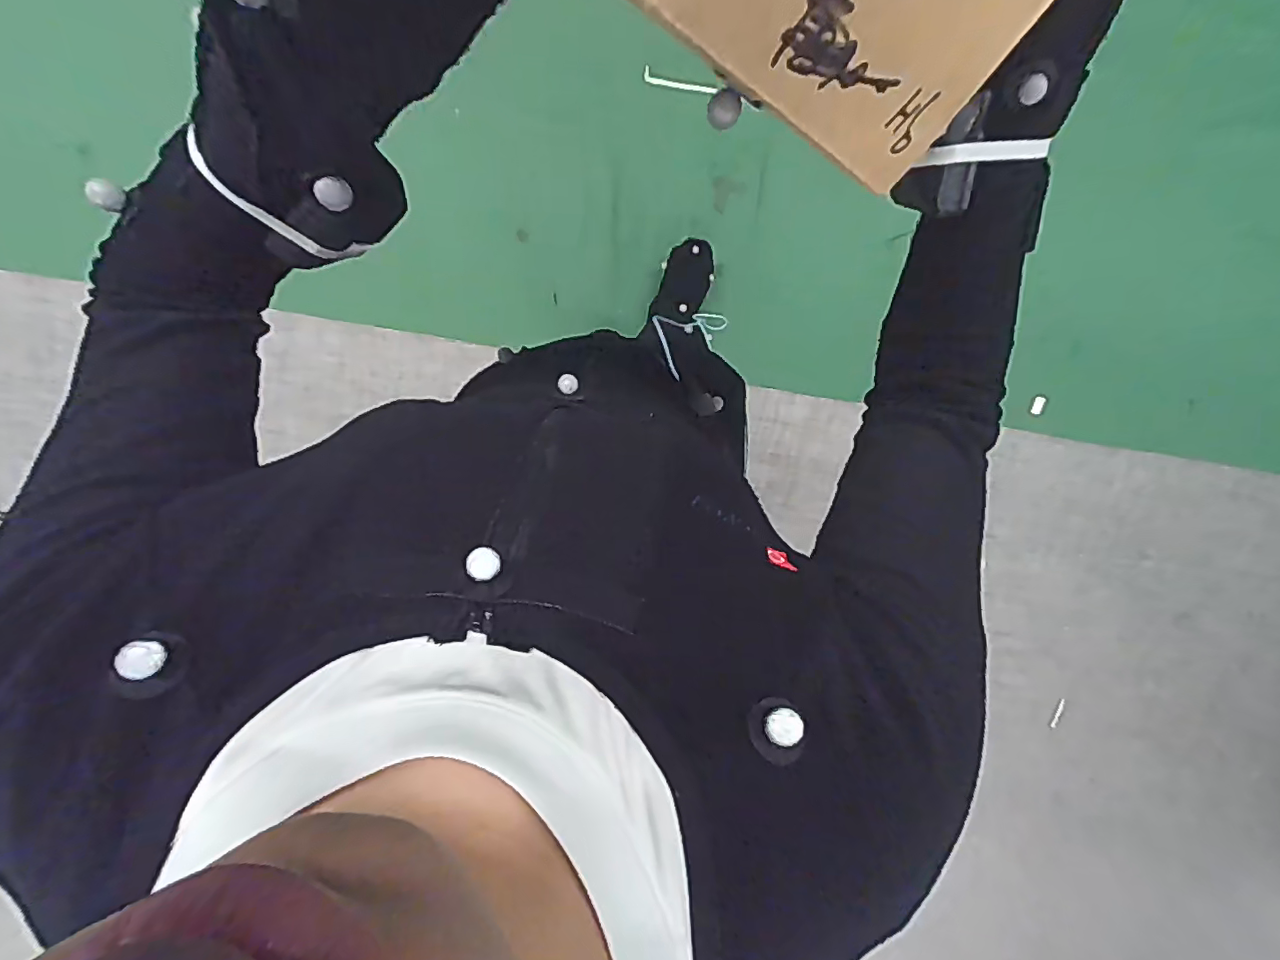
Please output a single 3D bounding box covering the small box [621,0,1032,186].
[{"bbox_3d":[0.061,-0.251,0.187,0.176,0.168,0.179,55,127,24],"label":"small box"}]
